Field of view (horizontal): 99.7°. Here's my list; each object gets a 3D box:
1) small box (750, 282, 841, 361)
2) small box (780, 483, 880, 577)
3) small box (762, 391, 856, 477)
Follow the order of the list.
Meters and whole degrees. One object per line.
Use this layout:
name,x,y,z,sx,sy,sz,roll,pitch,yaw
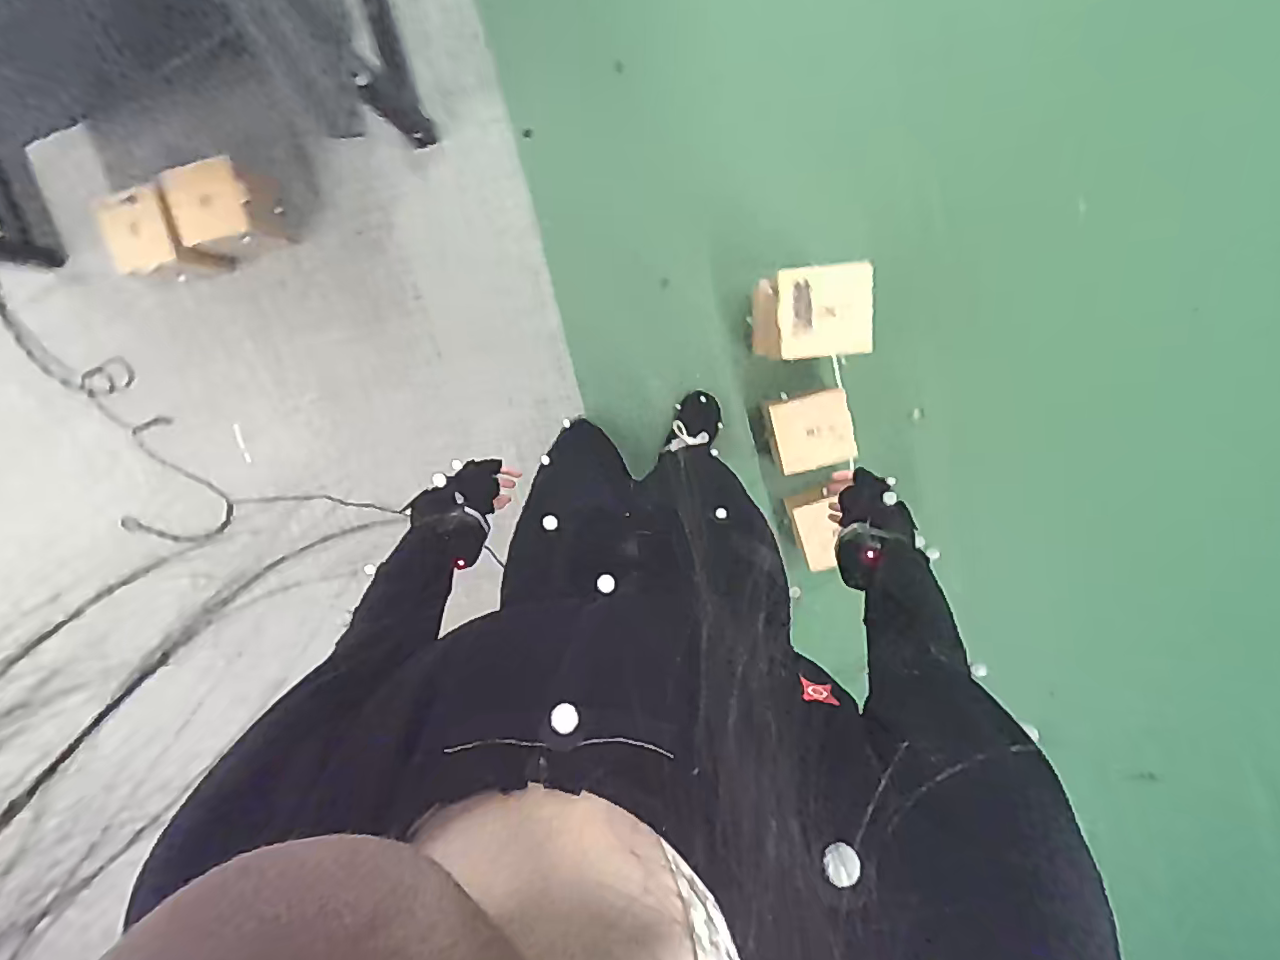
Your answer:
small box,0.358,-0.366,1.270,0.179,0.176,0.168,-2,101,6
small box,0.472,0.118,1.363,0.179,0.176,0.168,-18,100,7
small box,0.402,-0.116,1.319,0.179,0.176,0.168,-15,101,7
